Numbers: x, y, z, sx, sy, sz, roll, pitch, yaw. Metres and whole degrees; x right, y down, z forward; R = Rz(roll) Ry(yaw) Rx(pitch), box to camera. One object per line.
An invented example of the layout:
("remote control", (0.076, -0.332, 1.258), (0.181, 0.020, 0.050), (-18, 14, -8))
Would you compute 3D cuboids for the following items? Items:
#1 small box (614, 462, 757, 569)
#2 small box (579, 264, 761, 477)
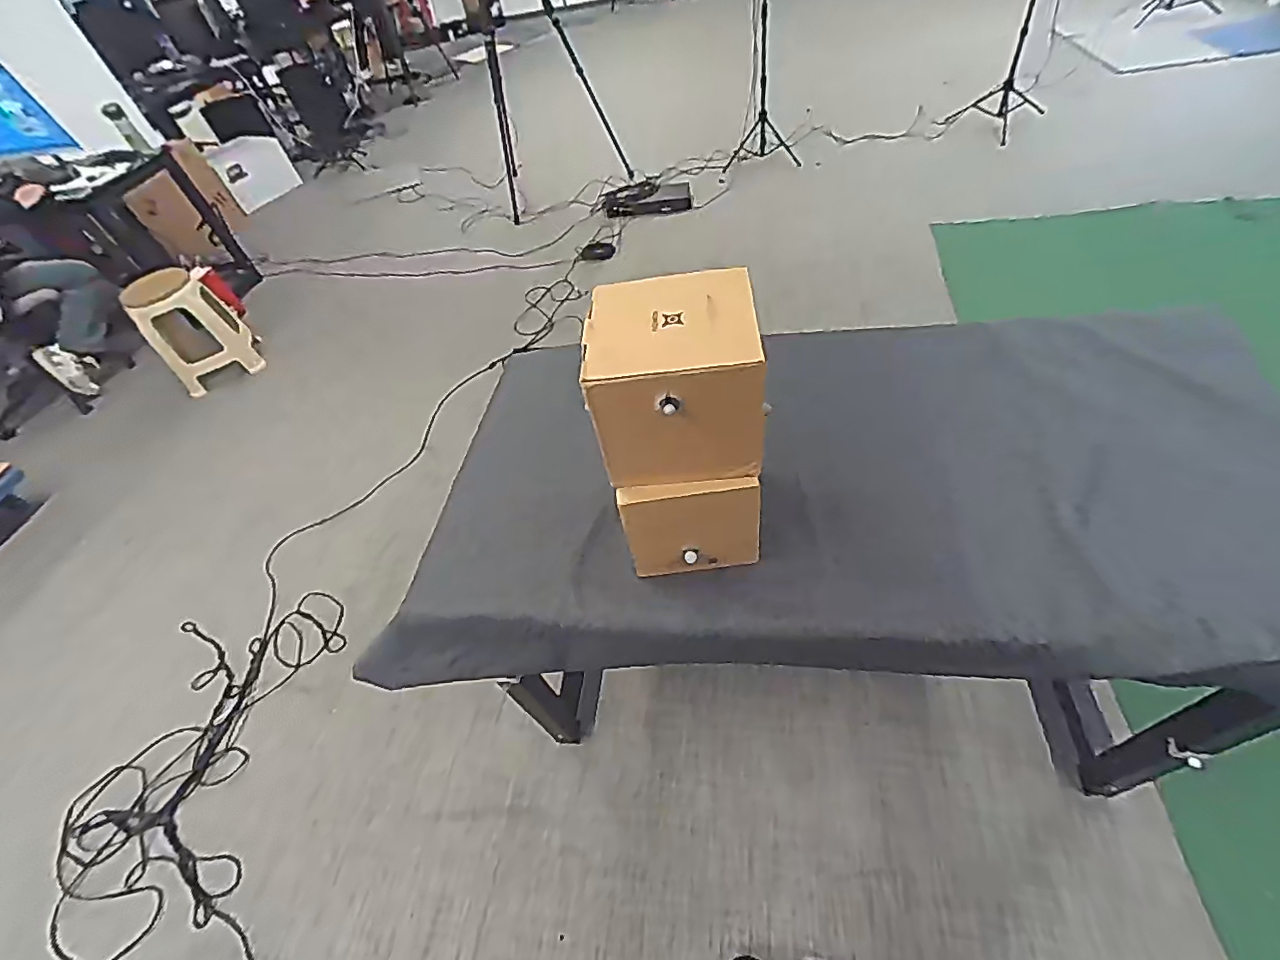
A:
("small box", (0.059, -0.002, 0.730), (0.168, 0.176, 0.179), (-8, 50, 5))
("small box", (0.040, -0.117, 0.616), (0.179, 0.176, 0.168), (-4, 51, 7))
